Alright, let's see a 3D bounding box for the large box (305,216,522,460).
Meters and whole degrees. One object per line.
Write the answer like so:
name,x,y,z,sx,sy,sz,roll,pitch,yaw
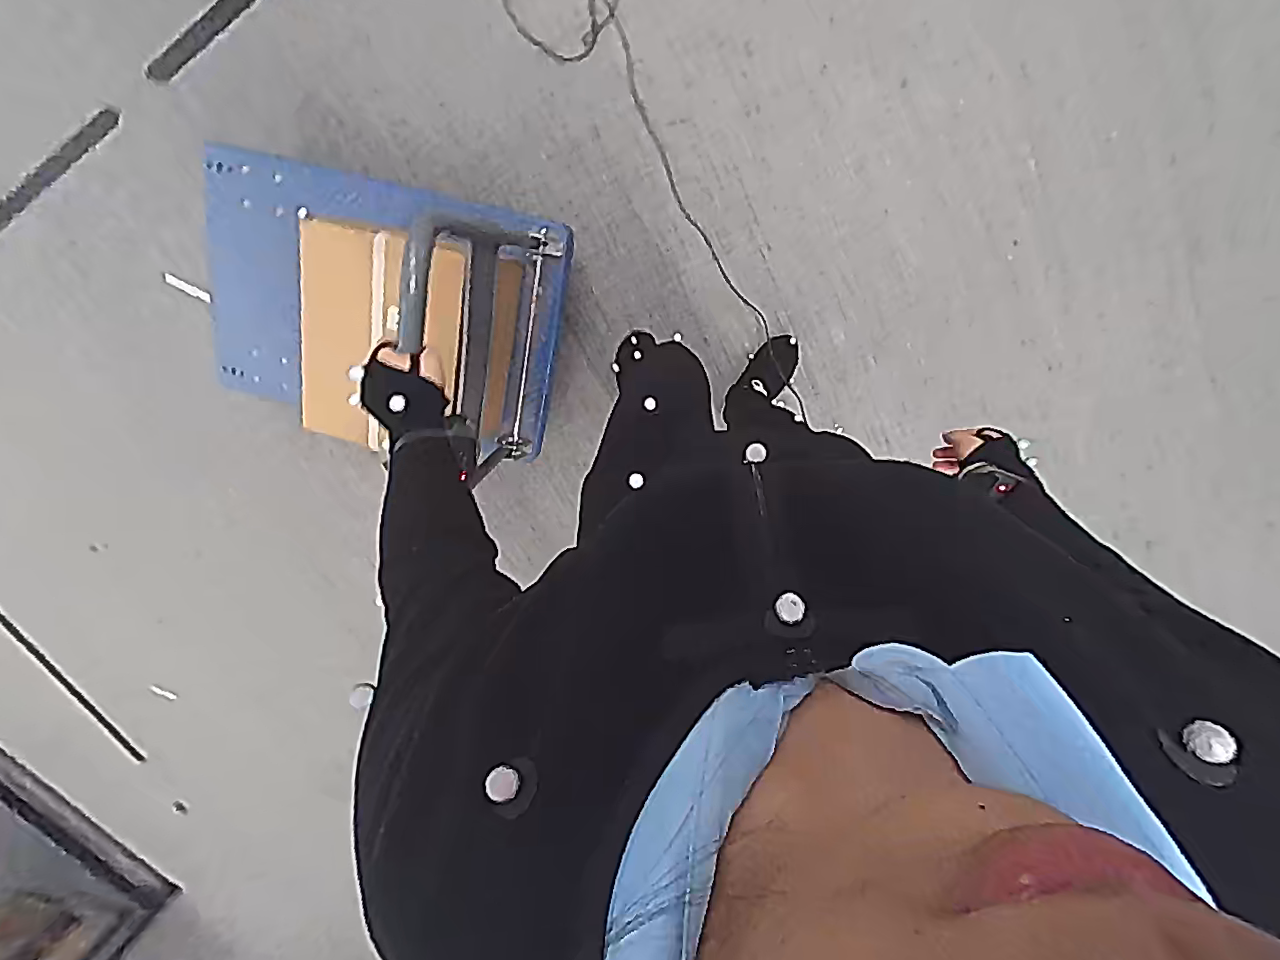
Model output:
large box,-0.471,-0.302,1.163,0.320,0.320,0.408,14,111,2
